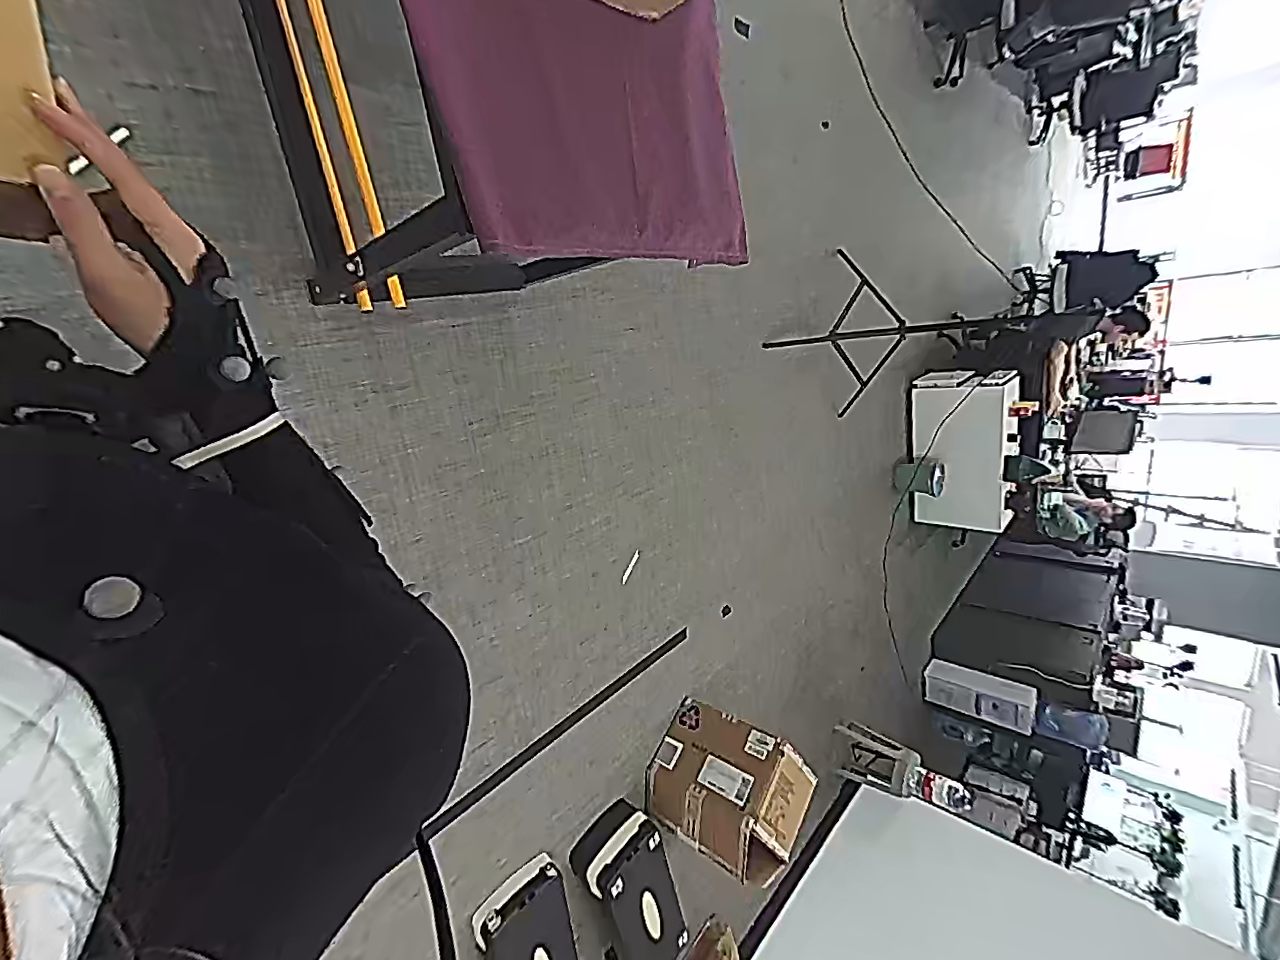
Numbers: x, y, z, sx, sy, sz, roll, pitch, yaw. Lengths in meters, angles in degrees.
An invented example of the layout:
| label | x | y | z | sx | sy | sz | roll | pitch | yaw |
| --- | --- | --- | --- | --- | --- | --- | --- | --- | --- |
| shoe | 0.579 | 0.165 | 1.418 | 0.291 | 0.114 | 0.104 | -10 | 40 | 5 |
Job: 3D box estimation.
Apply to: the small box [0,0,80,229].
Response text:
| label | x | y | z | sx | sy | sz | roll | pitch | yaw |
| --- | --- | --- | --- | --- | --- | --- | --- | --- | --- |
| small box | -0.421 | -0.233 | 0.265 | 0.179 | 0.176 | 0.168 | -13 | 107 | -47 |
